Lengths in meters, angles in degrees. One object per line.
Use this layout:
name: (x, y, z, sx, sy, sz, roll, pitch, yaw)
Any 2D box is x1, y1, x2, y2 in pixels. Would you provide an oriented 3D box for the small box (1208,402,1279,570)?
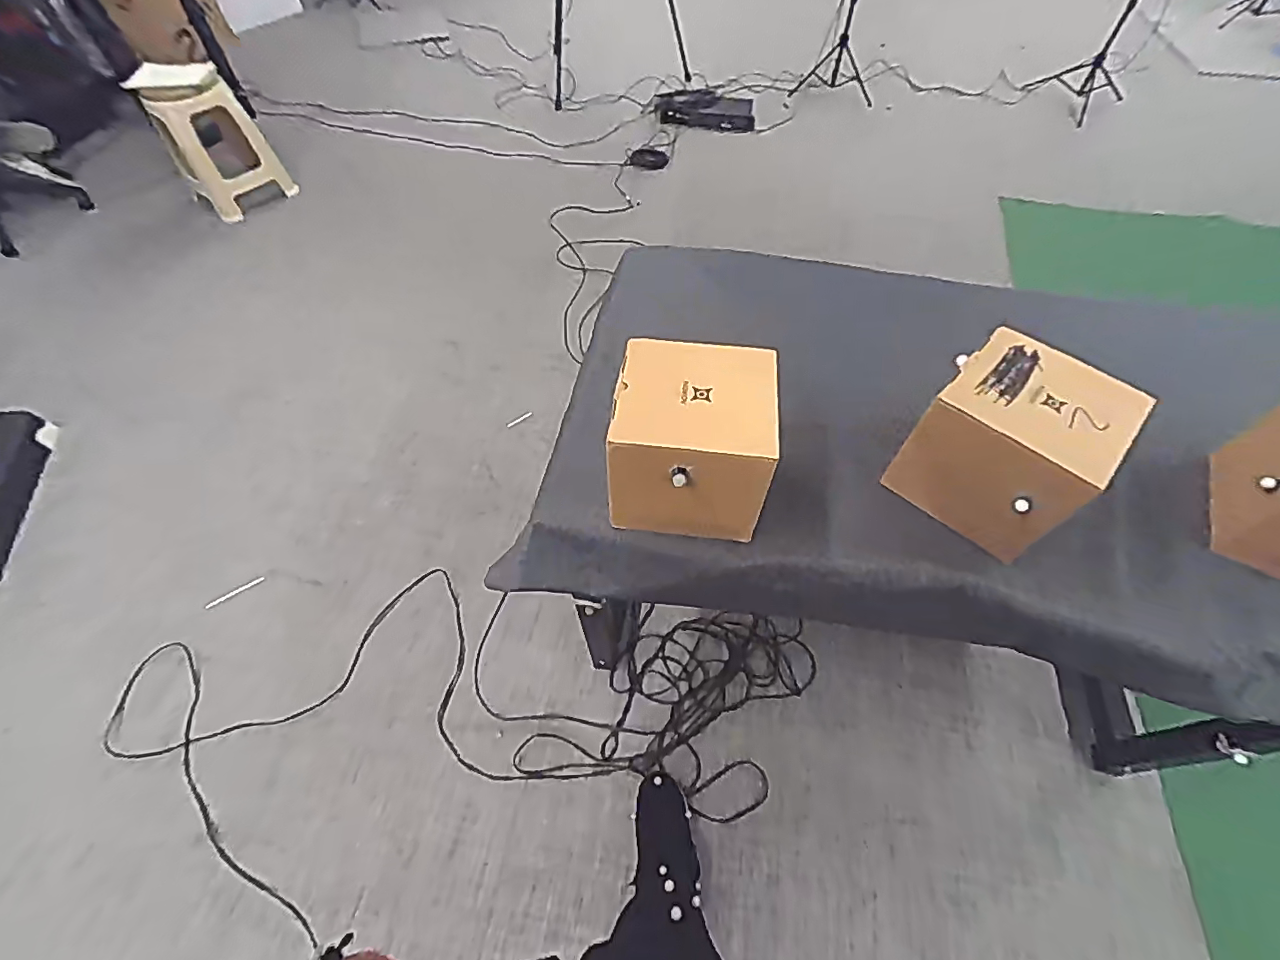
small box: (0.805, 0.012, 0.611, 0.168, 0.176, 0.179, 25, 58, 16)

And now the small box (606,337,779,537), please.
small box: (0.061, -0.046, 0.650, 0.179, 0.176, 0.168, 6, 53, 5)
